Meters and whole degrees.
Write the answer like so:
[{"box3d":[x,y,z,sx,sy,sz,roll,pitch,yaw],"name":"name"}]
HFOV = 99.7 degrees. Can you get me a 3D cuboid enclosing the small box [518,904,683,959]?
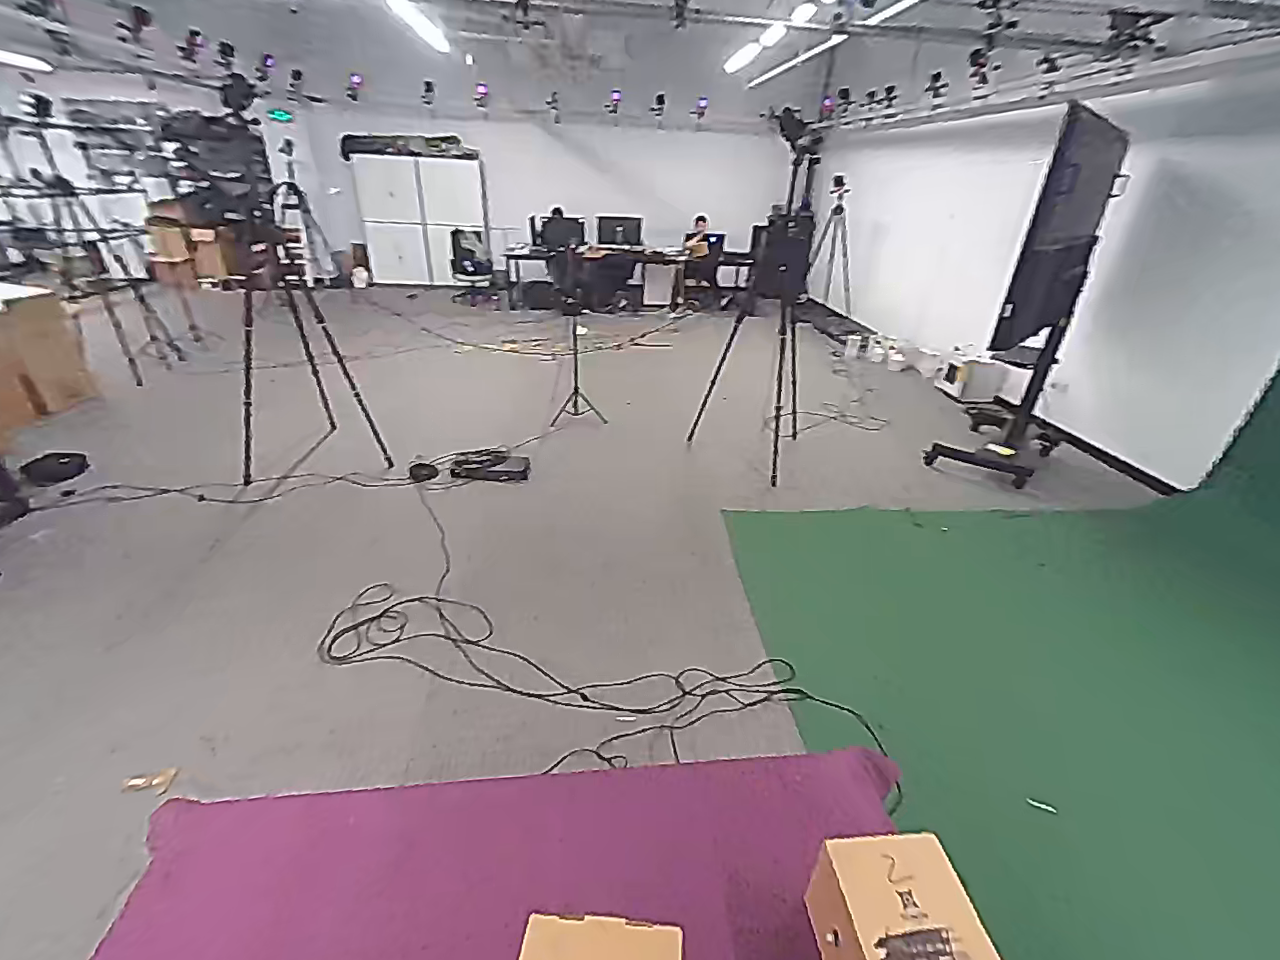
[{"box3d":[-0.045,0.570,0.533,0.168,0.176,0.179,1,28,6],"name":"small box"}]
